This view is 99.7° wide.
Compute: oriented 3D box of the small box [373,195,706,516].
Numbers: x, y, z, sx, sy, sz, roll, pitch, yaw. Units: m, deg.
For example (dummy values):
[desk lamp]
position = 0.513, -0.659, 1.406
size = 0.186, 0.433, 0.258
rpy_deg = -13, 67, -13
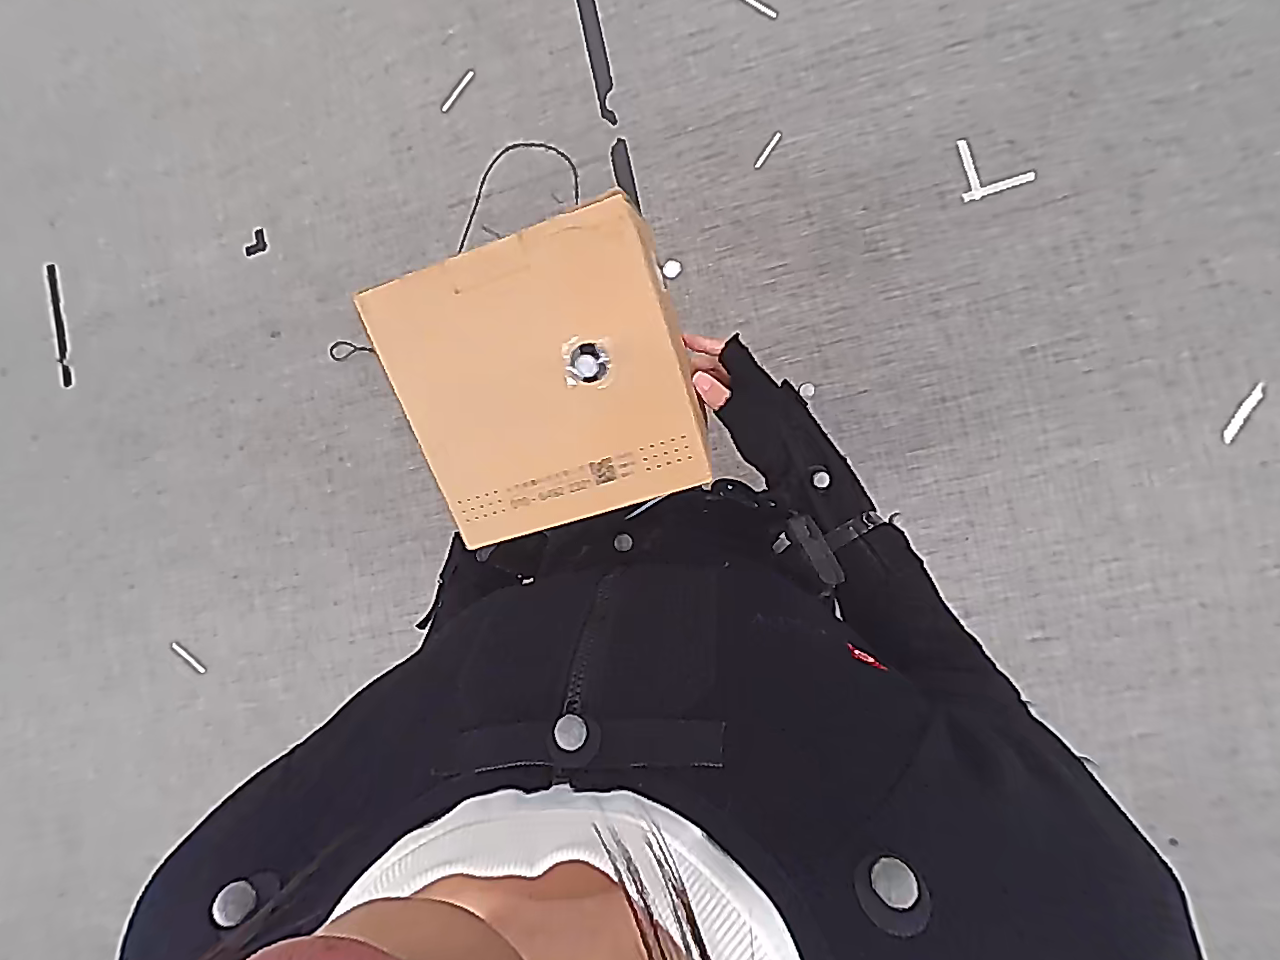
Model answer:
[small box]
position = -0.050, -0.085, 0.408
size = 0.168, 0.179, 0.176
rpy_deg = -15, 107, 12
